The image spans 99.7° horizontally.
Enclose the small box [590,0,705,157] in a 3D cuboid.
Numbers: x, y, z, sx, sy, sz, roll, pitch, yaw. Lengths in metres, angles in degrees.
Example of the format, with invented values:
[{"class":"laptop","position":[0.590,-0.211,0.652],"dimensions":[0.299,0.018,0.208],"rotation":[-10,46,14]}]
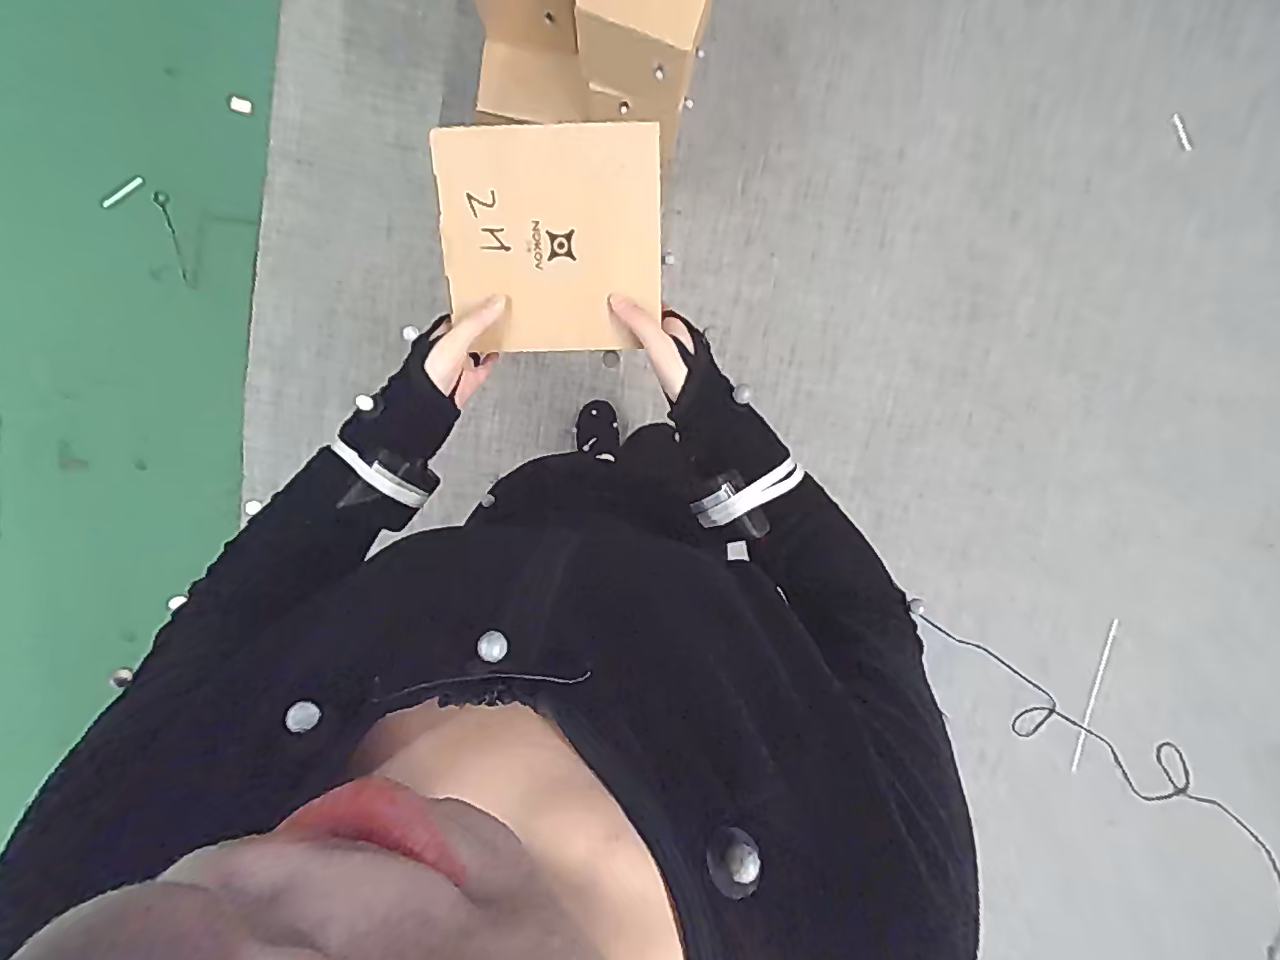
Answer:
[{"class":"small box","position":[0.009,-0.741,0.997],"dimensions":[0.168,0.176,0.179],"rotation":[13,96,-3]}]

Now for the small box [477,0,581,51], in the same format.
[{"class":"small box","position":[-0.196,-0.921,0.973],"dimensions":[0.179,0.176,0.168],"rotation":[7,95,-2]}]

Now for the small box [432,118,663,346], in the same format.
[{"class":"small box","position":[-0.070,-0.215,0.504],"dimensions":[0.179,0.176,0.168],"rotation":[1,107,1]}]
